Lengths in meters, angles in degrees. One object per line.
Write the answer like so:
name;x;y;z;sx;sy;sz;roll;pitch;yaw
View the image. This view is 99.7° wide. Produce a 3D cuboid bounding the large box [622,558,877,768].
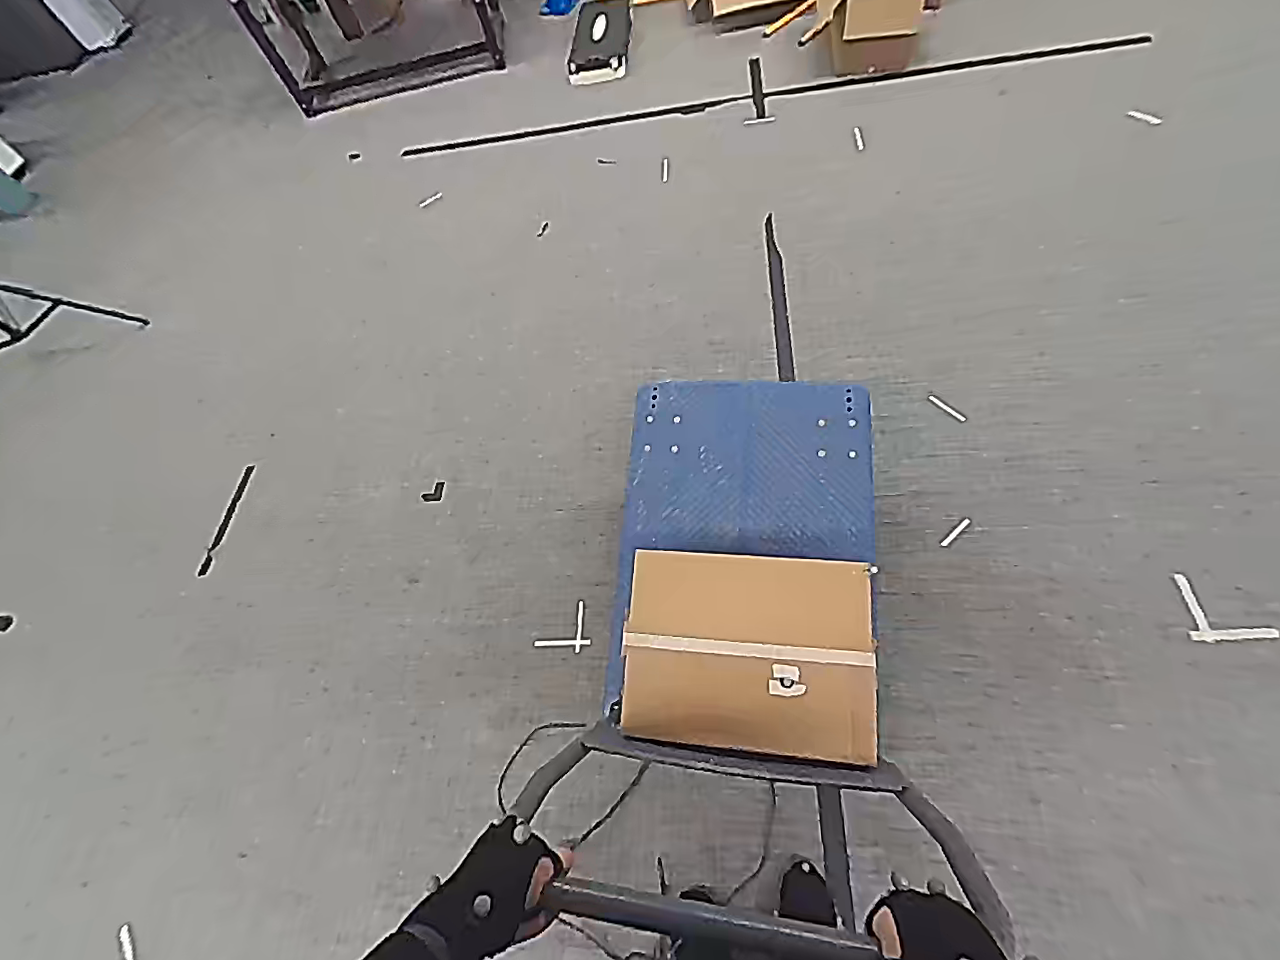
large box;0.194;0.334;1.031;0.408;0.320;0.320;1;73;10
